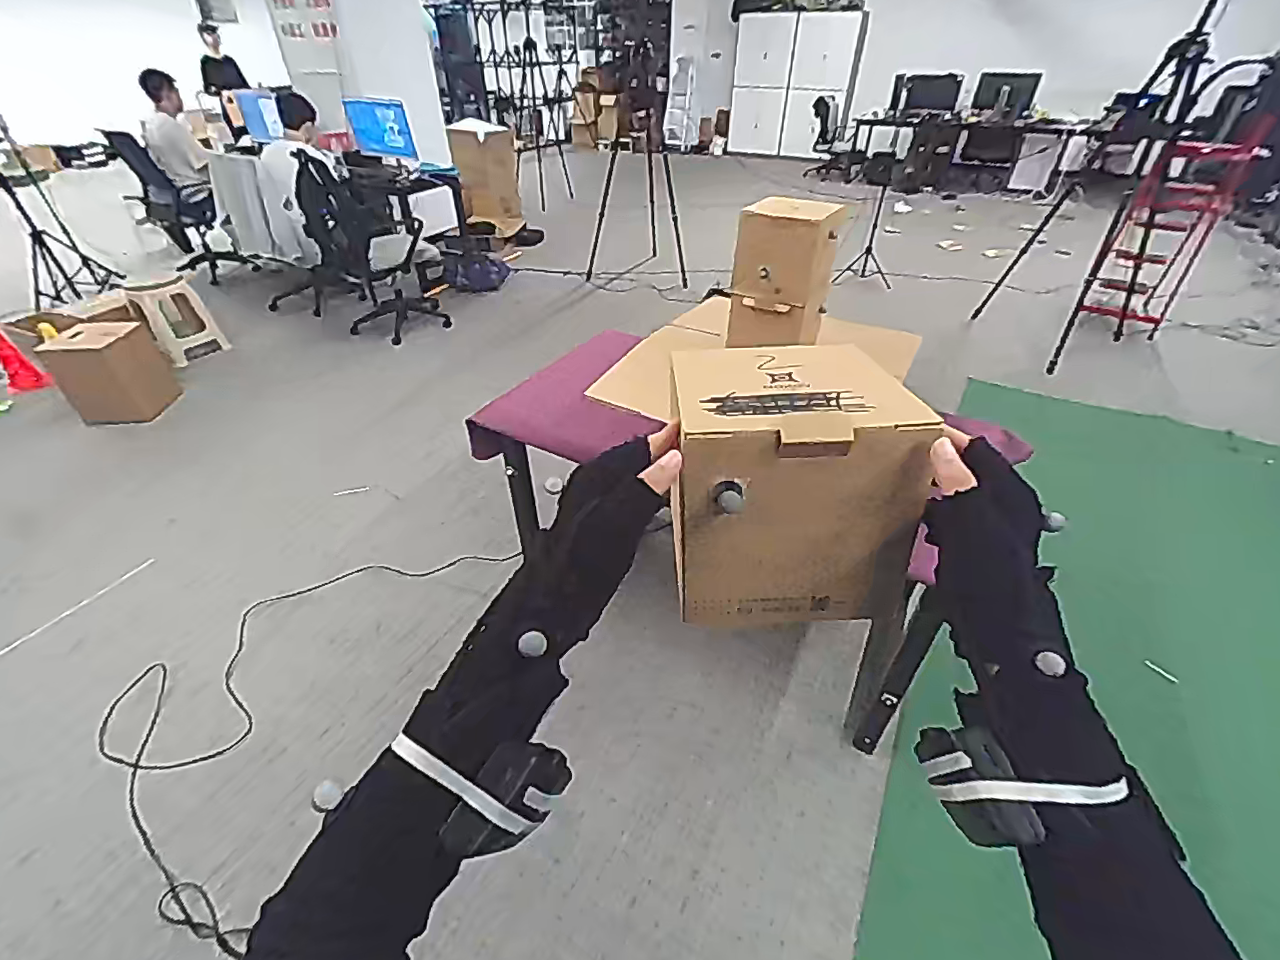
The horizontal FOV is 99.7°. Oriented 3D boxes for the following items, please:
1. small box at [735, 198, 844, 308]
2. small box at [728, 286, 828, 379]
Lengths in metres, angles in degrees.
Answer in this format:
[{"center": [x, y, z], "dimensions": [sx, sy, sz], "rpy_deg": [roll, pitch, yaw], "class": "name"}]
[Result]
[{"center": [0.313, -0.485, 1.151], "dimensions": [0.168, 0.176, 0.179], "rpy_deg": [21, 42, 24], "class": "small box"}, {"center": [0.314, -0.356, 1.250], "dimensions": [0.168, 0.176, 0.179], "rpy_deg": [20, 42, 25], "class": "small box"}]
